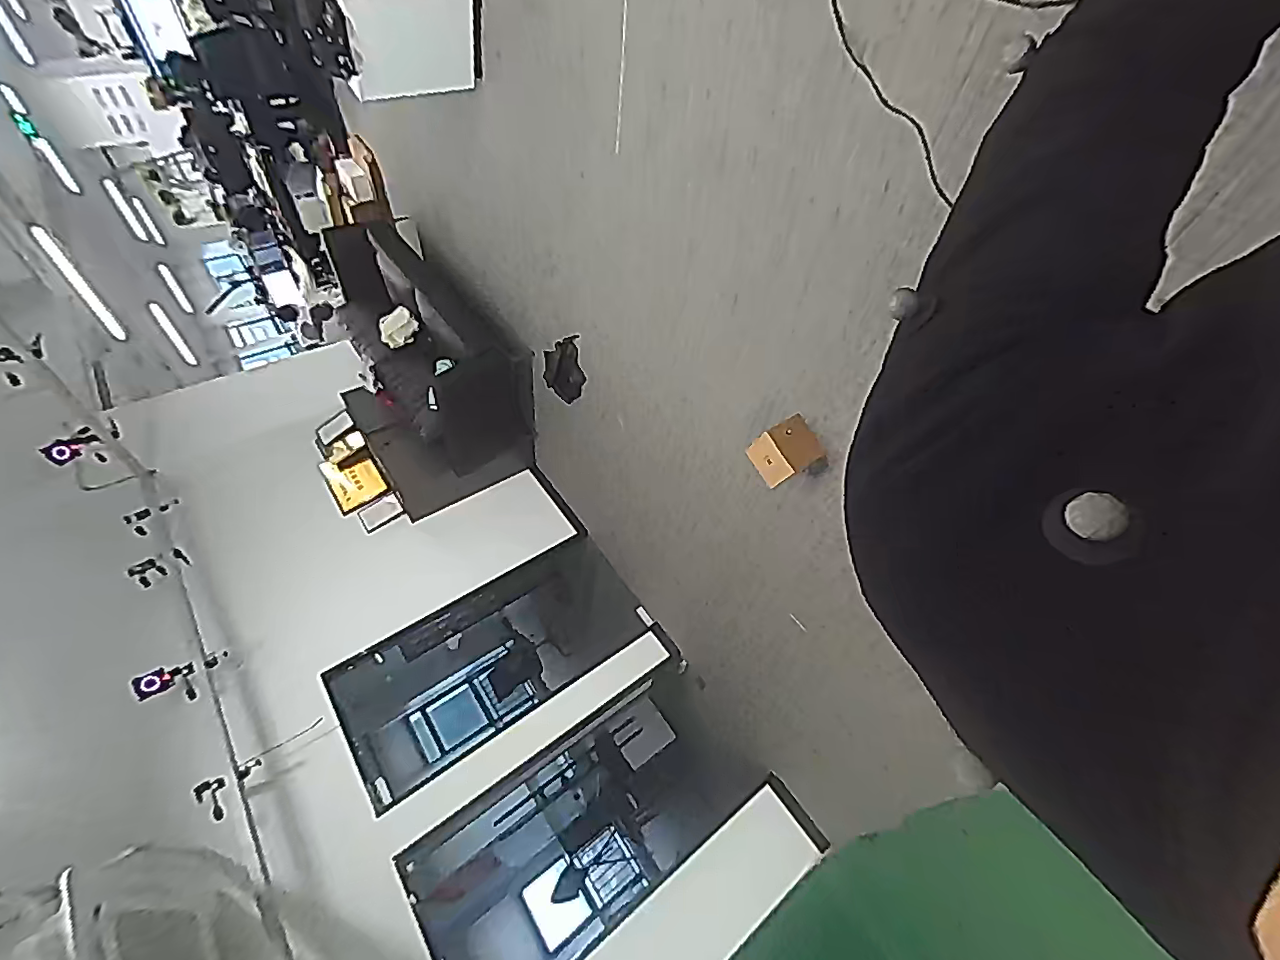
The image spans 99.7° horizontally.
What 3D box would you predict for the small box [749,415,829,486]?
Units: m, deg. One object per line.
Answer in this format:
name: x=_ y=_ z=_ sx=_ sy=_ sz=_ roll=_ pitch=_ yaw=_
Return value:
small box: x=0.530 y=-0.112 z=1.929 sx=0.179 sy=0.176 sz=0.168 roll=56 pitch=155 yaw=11
